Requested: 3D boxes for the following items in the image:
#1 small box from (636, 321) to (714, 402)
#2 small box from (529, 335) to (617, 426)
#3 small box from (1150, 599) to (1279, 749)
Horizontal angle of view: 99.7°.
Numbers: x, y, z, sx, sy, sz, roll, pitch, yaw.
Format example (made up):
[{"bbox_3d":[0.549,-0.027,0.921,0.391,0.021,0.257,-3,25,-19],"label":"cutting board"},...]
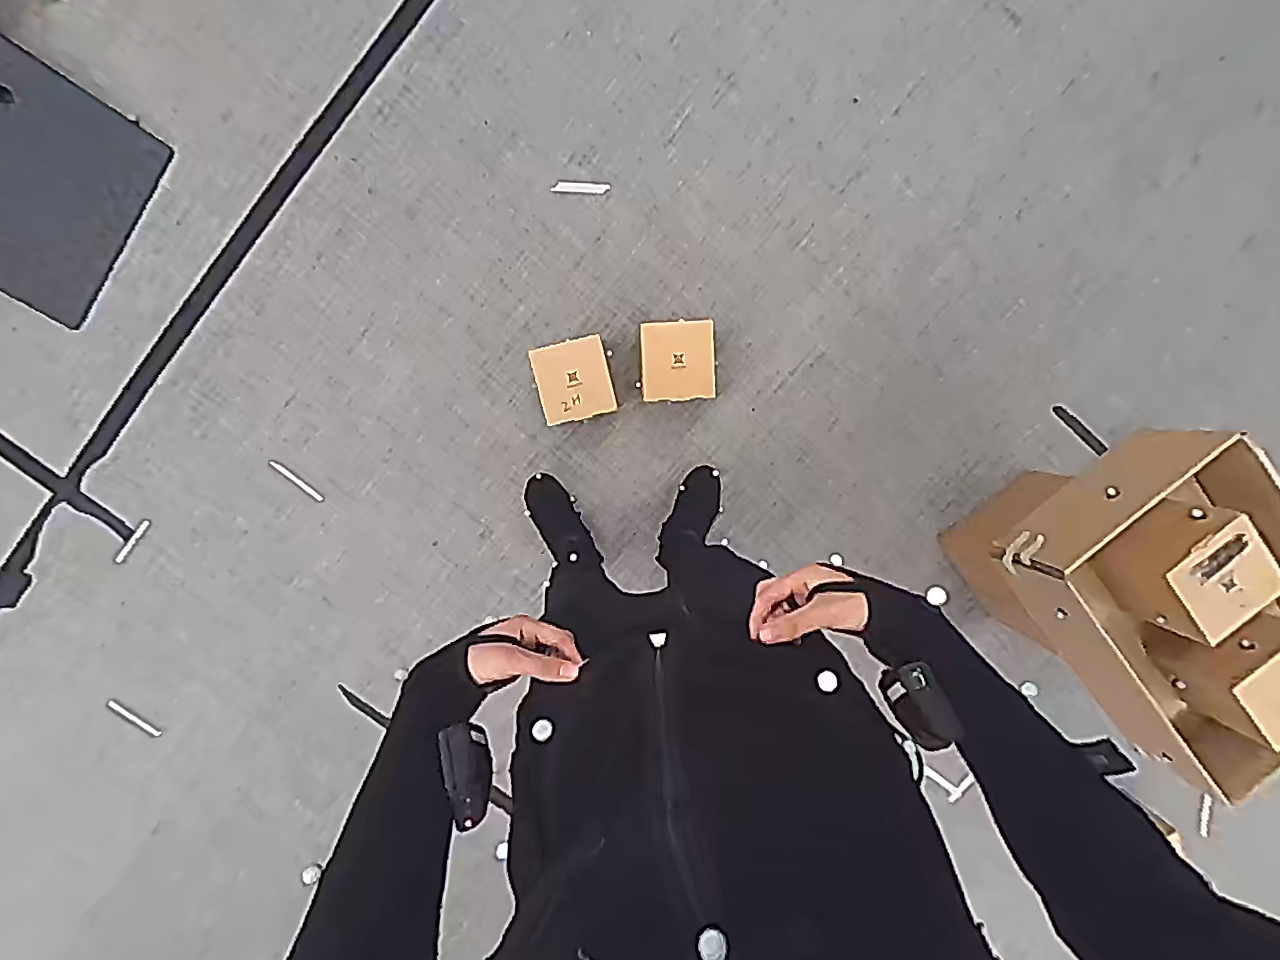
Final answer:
[{"bbox_3d":[0.080,-0.279,1.298,0.168,0.176,0.179,-4,100,-3],"label":"small box"},{"bbox_3d":[-0.154,-0.233,1.290,0.168,0.176,0.179,-14,100,0],"label":"small box"},{"bbox_3d":[1.141,0.354,1.019,0.179,0.176,0.168,-41,97,1],"label":"small box"}]
